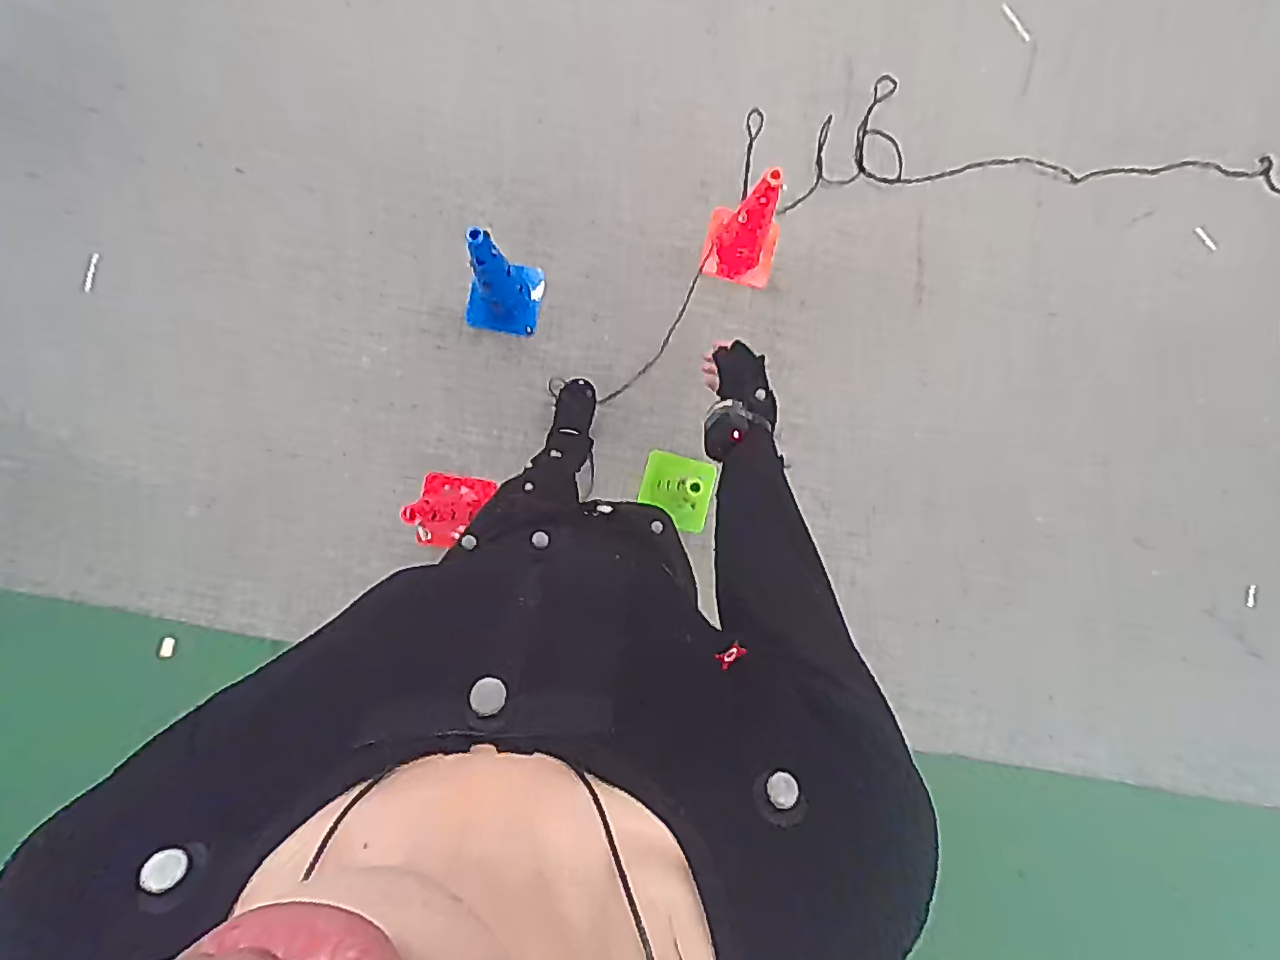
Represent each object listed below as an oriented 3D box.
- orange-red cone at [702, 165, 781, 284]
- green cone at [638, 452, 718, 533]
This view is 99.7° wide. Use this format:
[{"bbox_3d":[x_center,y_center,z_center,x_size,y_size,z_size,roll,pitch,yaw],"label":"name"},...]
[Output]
[{"bbox_3d":[0.297,-0.684,1.393,0.198,0.360,0.199,16,88,-1],"label":"orange-red cone"},{"bbox_3d":[0.118,0.024,1.347,0.200,0.368,0.202,13,86,-3],"label":"green cone"}]
